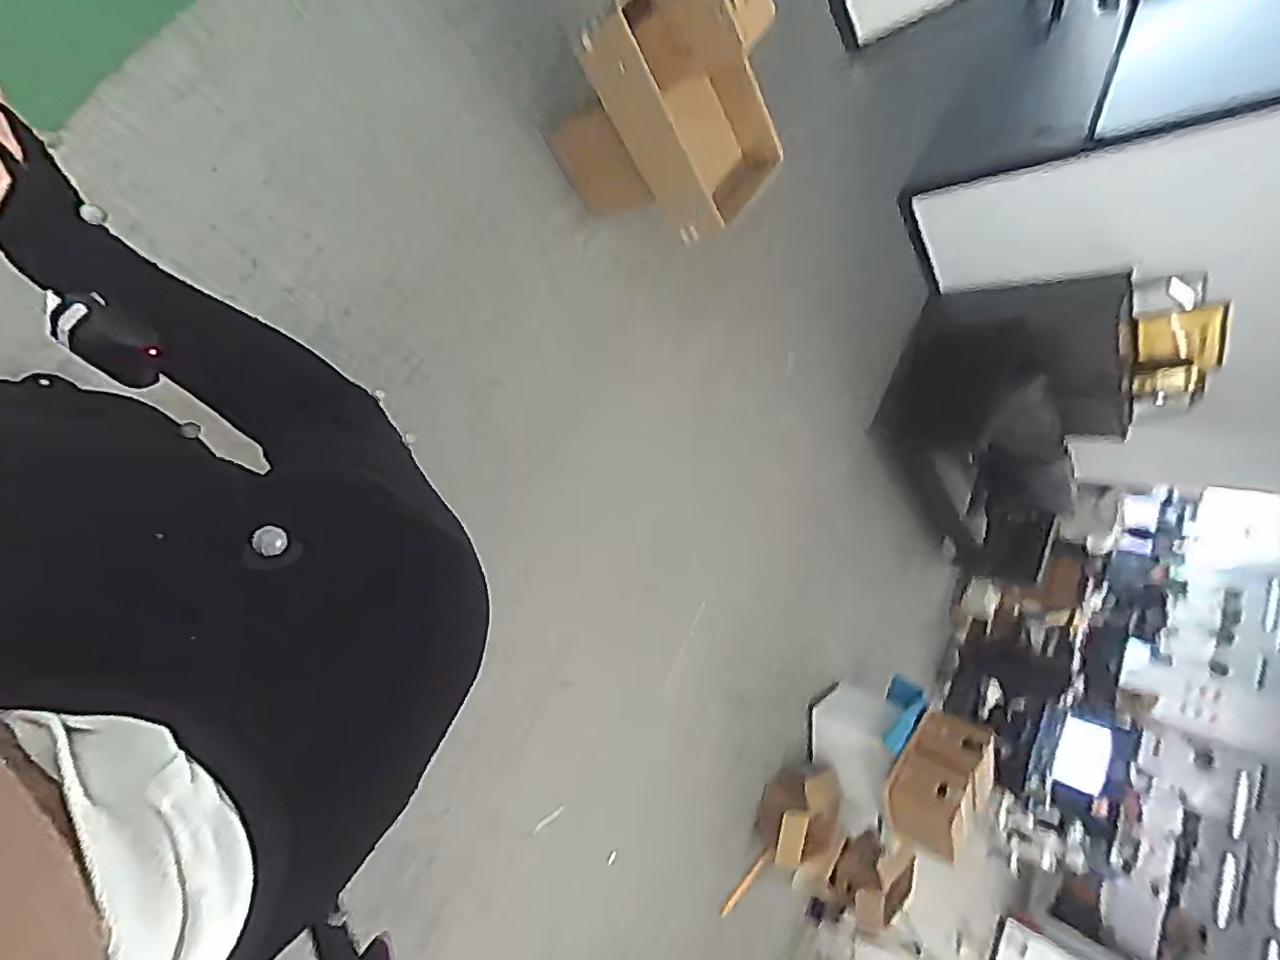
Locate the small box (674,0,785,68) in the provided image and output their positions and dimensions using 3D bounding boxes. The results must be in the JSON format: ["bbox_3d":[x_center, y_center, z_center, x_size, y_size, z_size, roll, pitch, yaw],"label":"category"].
[{"bbox_3d":[0.213,-1.154,1.304,0.168,0.176,0.179,46,69,-36],"label":"small box"}]

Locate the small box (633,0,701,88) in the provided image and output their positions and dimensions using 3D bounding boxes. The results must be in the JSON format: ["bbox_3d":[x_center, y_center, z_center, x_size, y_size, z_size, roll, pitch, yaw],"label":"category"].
[{"bbox_3d":[0.107,-1.184,1.424,0.179,0.176,0.168,-56,129,-19],"label":"small box"}]
